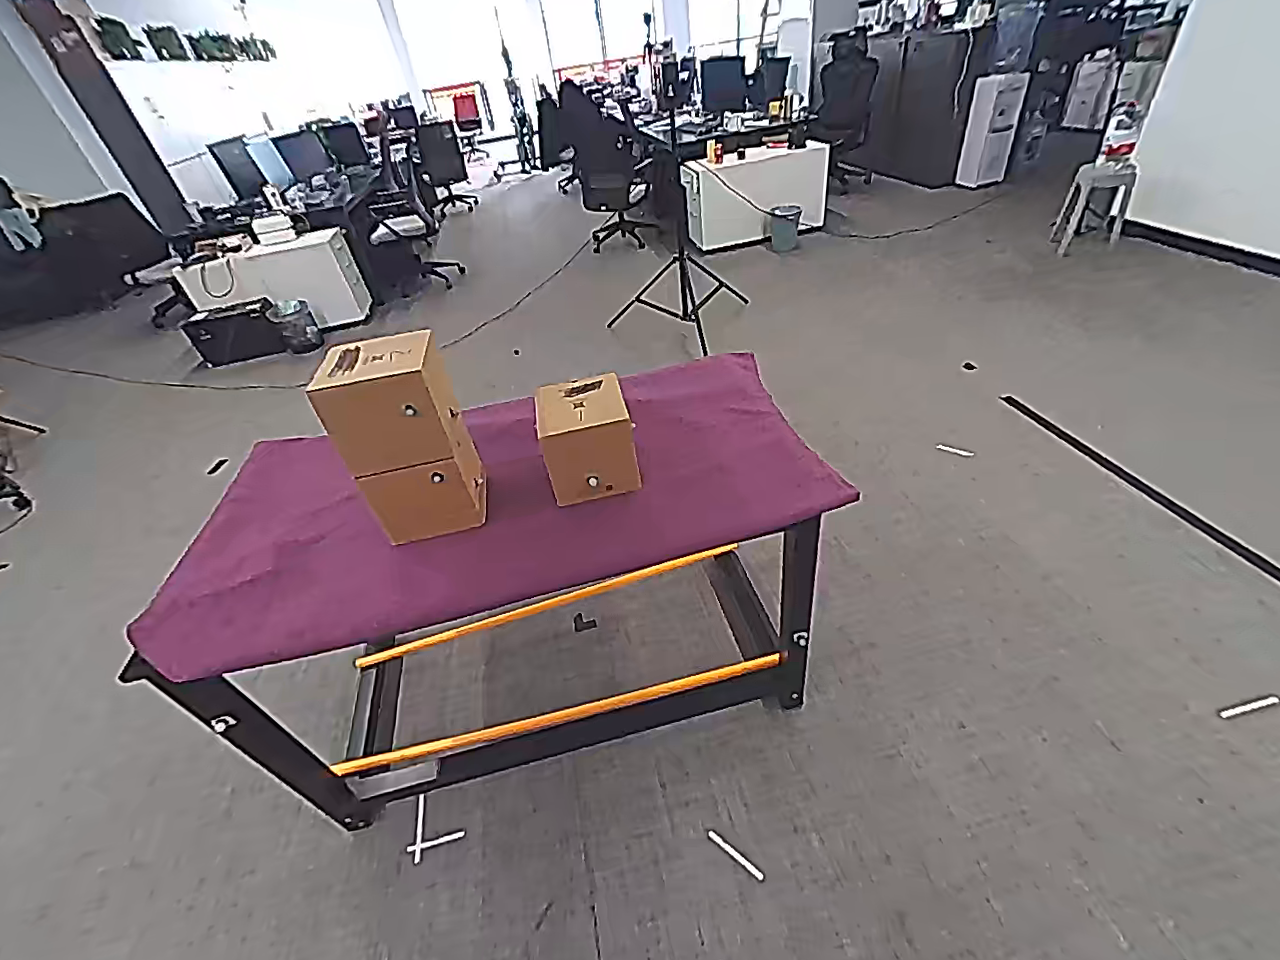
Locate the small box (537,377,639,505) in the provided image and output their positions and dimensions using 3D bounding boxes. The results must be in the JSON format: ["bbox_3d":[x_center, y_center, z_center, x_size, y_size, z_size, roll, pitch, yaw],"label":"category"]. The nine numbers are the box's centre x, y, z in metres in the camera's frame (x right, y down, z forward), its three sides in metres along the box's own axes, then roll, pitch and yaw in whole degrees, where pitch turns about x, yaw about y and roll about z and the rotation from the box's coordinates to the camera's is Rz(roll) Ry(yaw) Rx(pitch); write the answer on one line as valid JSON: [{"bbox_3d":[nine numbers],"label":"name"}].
[{"bbox_3d":[-0.102,-0.078,1.061,0.168,0.176,0.179,-12,39,-3],"label":"small box"}]

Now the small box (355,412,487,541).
[{"bbox_3d":[-0.406,-0.004,1.034,0.179,0.176,0.168,-13,39,-5],"label":"small box"}]
